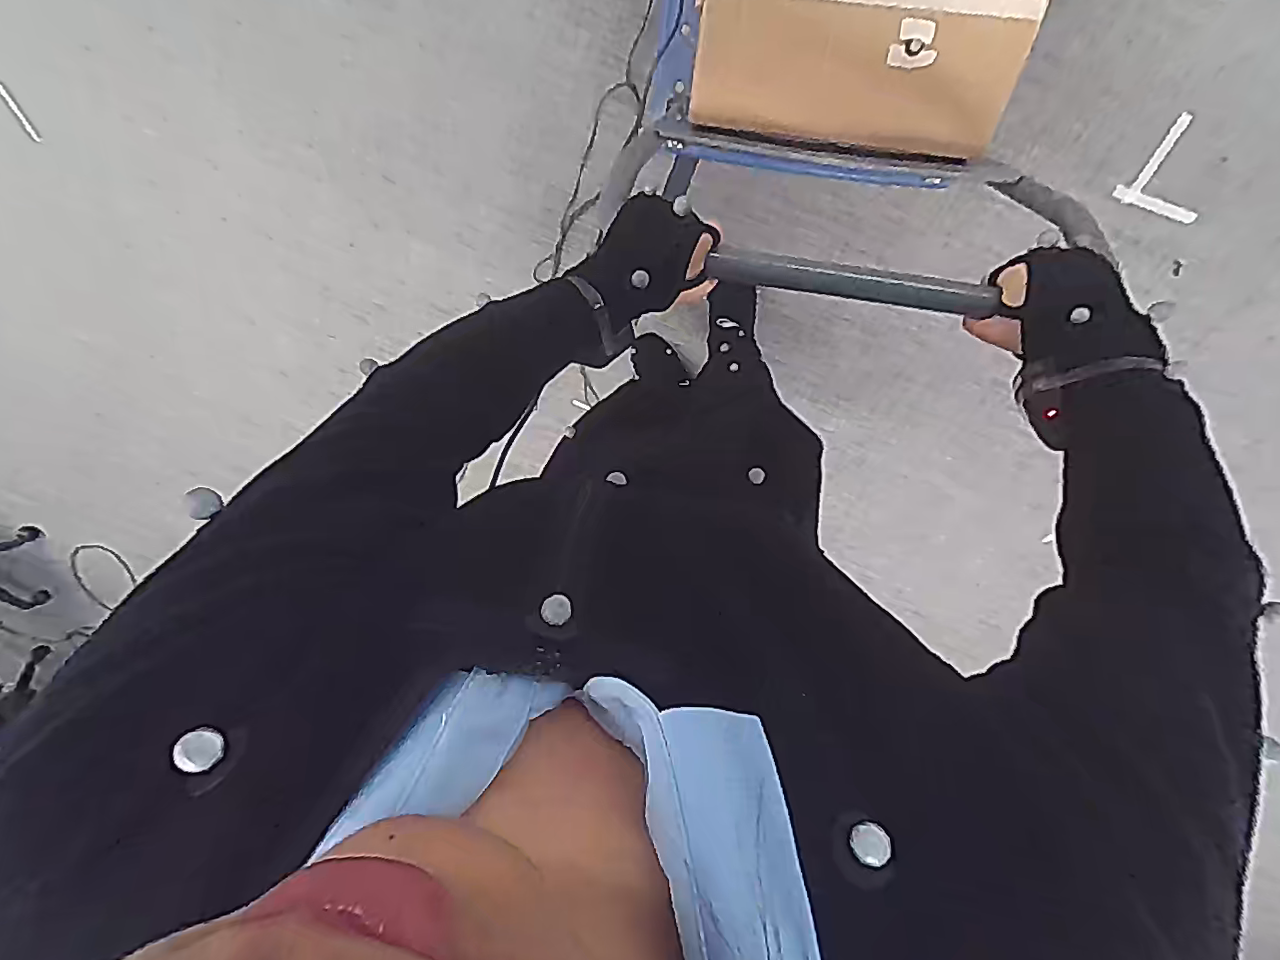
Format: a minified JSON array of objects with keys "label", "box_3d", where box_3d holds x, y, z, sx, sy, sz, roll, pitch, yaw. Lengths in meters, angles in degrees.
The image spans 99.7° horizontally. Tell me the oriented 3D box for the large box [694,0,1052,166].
[{"label":"large box","box_3d":[0.300,-0.655,0.769,0.408,0.320,0.320,9,126,3]}]
